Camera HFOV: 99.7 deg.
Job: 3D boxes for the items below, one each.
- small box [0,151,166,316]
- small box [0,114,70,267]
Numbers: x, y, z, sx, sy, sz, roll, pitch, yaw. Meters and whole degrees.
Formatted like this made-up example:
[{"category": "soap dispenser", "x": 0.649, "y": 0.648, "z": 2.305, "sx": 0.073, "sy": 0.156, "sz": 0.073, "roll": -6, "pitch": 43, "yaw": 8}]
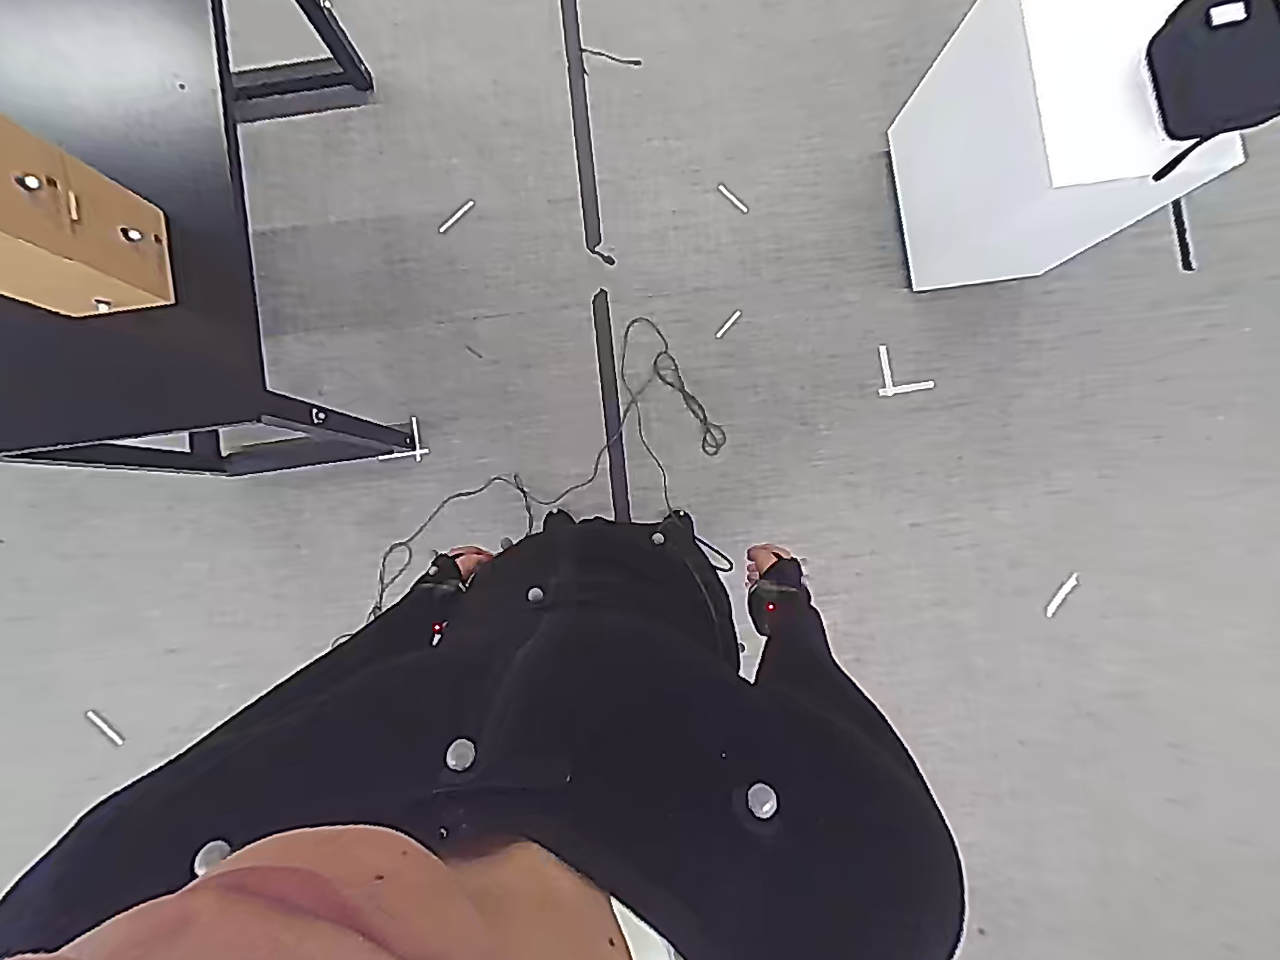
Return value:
[{"category": "small box", "x": -0.884, "y": -0.369, "z": 0.836, "sx": 0.179, "sy": 0.176, "sz": 0.168, "roll": -9, "pitch": 88, "yaw": -1}, {"category": "small box", "x": -0.884, "y": -0.375, "z": 0.672, "sx": 0.179, "sy": 0.176, "sz": 0.168, "roll": -8, "pitch": 88, "yaw": -1}]
